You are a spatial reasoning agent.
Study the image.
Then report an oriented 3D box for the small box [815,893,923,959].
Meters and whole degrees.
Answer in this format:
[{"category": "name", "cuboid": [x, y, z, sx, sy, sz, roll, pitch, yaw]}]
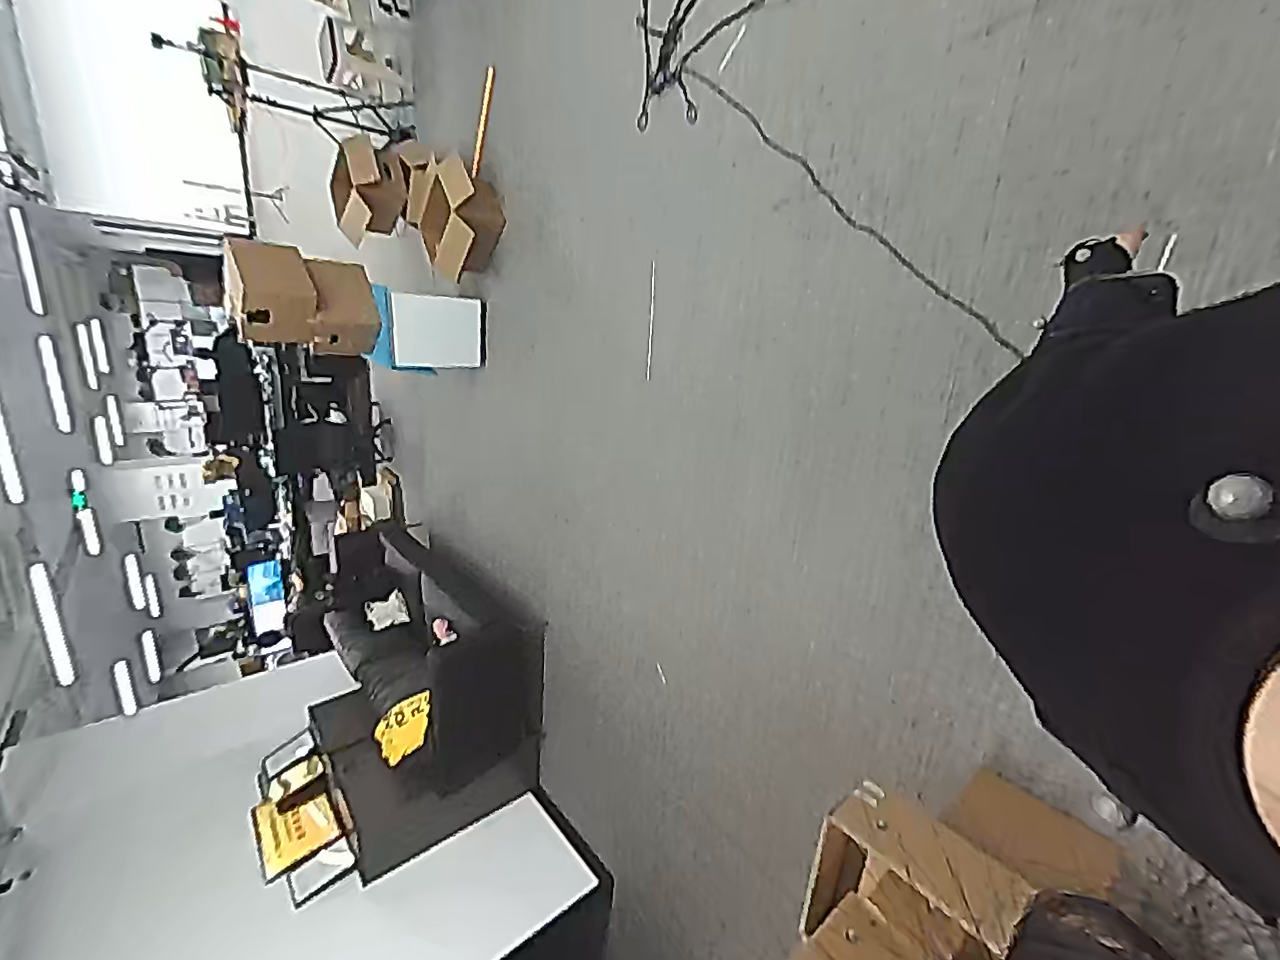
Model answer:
[{"category": "small box", "cuboid": [0.444, 0.987, 1.076, 0.168, 0.176, 0.179, 31, 120, 45]}]
